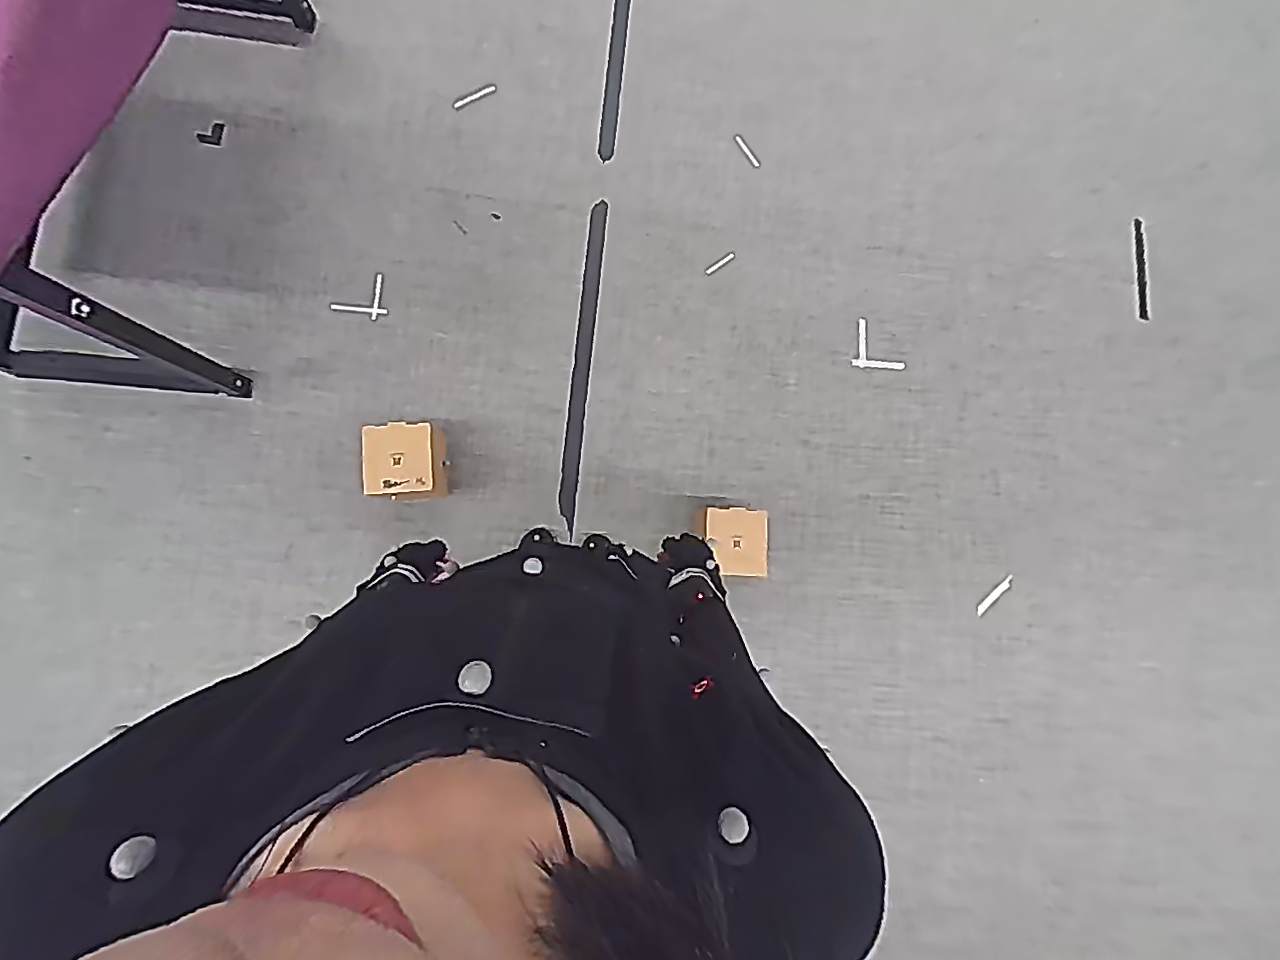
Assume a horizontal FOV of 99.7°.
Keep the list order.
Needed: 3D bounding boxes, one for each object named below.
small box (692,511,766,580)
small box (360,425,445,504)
[{"bbox_3d":[0.240,0.181,1.482,0.168,0.176,0.179,3,83,-5],"label":"small box"},{"bbox_3d":[-0.614,-0.036,1.410,0.168,0.176,0.179,-3,82,-7],"label":"small box"}]
